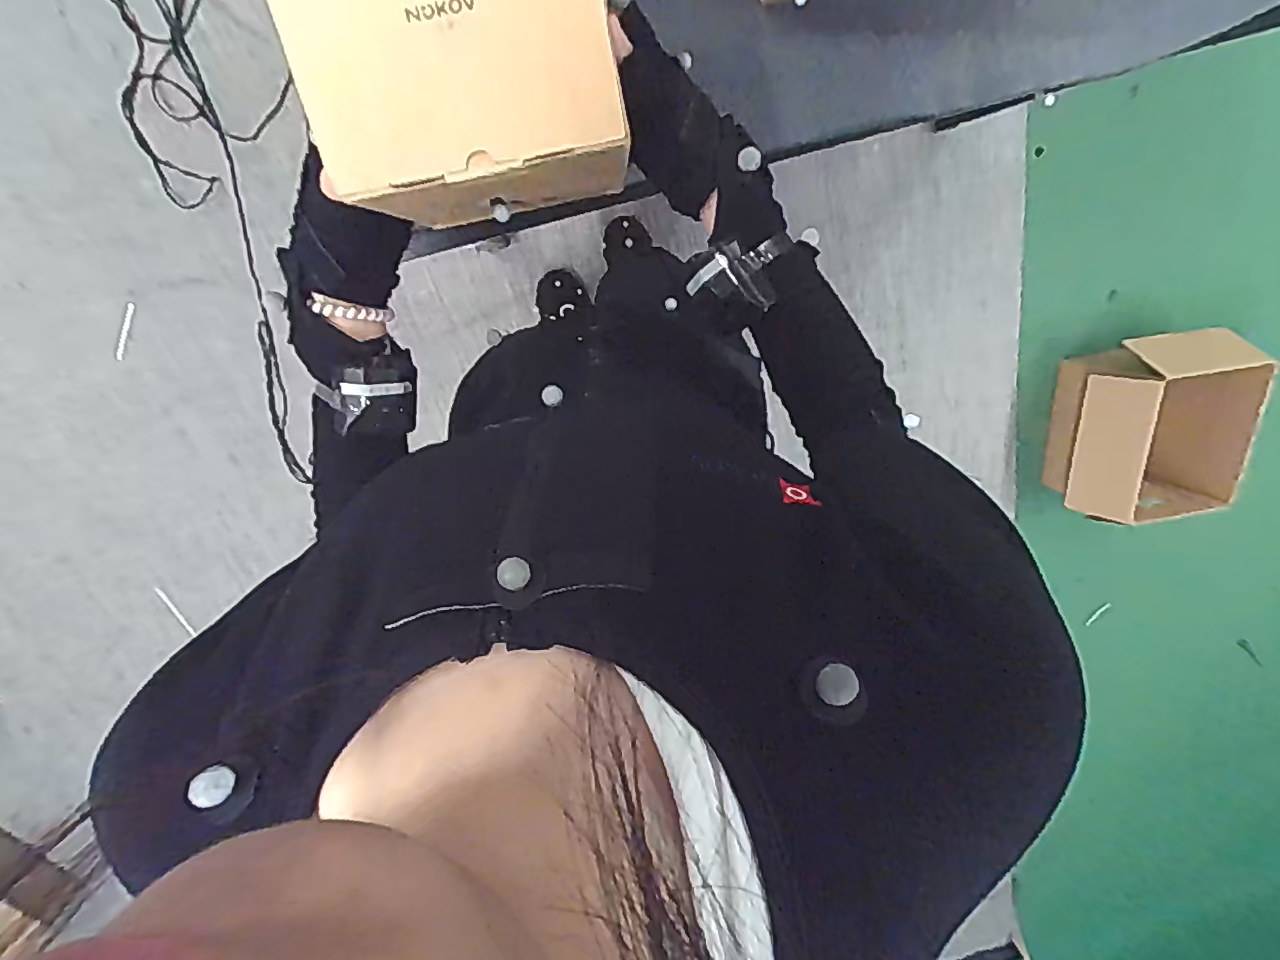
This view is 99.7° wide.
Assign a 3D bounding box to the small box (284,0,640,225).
[{"bbox_3d":[-0.100,-0.276,0.341,0.168,0.176,0.179,-12,111,1],"label":"small box"}]
